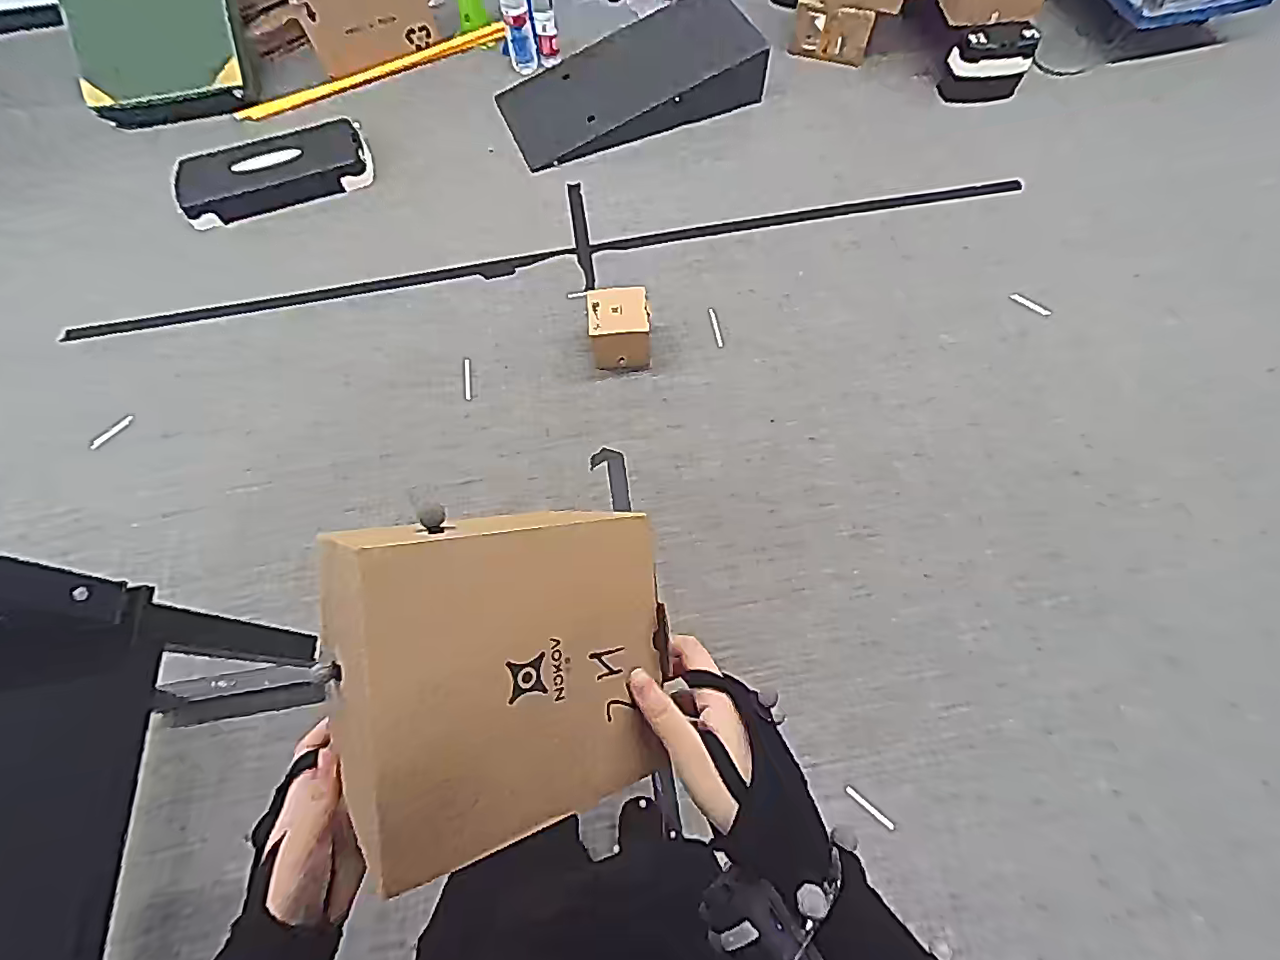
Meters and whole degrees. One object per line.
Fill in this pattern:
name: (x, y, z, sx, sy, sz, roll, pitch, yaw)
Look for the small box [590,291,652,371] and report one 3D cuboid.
small box: (-0.058, -0.446, 1.635, 0.179, 0.176, 0.168, -3, 66, -1)
